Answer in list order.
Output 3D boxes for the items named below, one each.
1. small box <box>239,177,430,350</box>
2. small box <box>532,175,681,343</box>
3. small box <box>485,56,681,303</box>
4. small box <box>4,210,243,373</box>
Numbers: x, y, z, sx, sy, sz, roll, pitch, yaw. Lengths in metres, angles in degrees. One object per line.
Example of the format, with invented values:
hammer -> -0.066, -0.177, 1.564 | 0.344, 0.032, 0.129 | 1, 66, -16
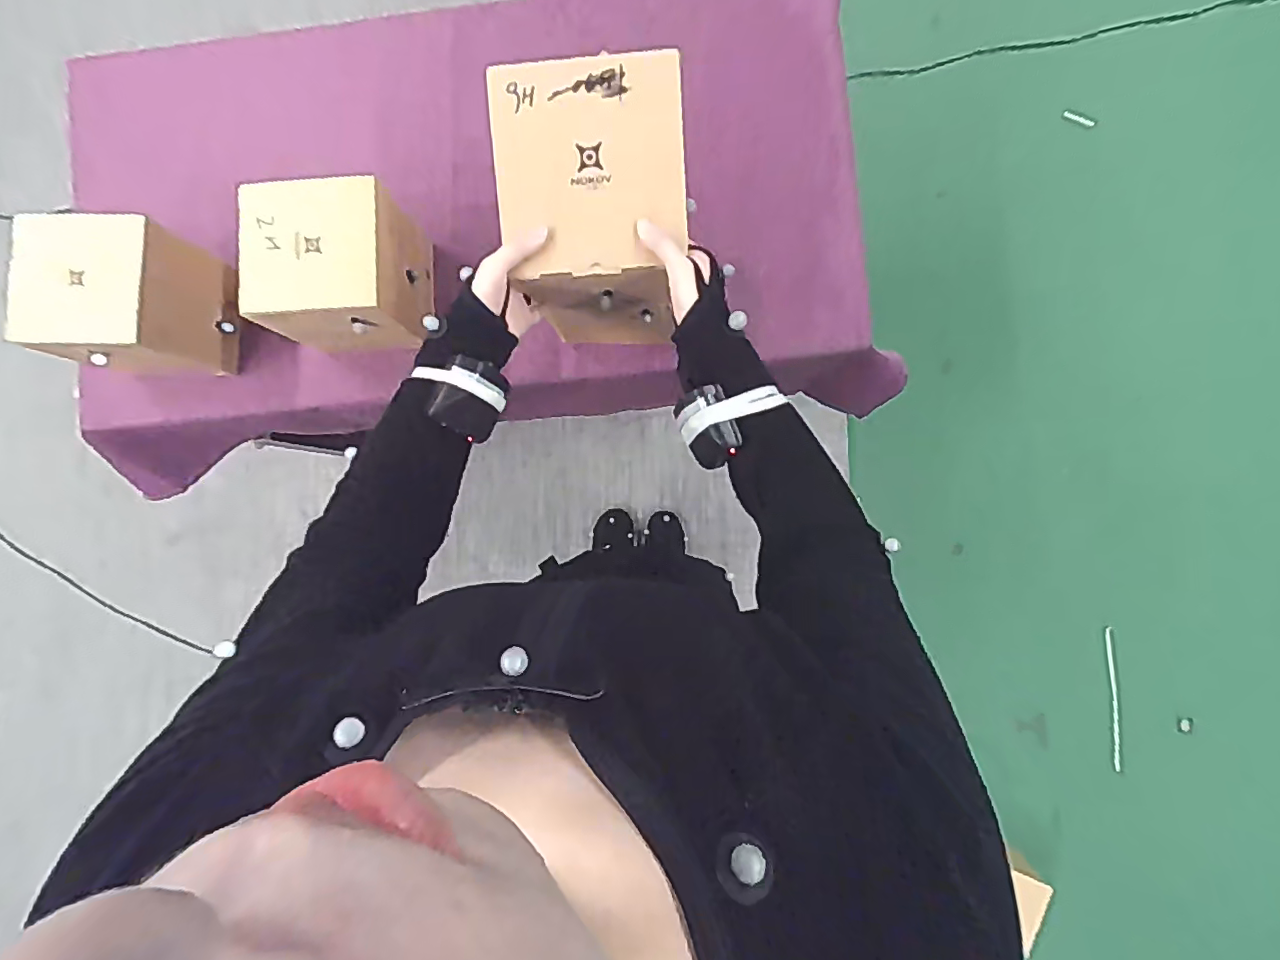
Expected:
small box -> -0.402, -0.284, 0.741 | 0.179, 0.176, 0.168 | -2, 86, 3
small box -> -0.037, -0.289, 0.726 | 0.179, 0.176, 0.168 | 2, 88, 2
small box -> -0.042, -0.278, 0.546 | 0.168, 0.176, 0.179 | -3, 100, 3
small box -> -0.701, -0.251, 0.755 | 0.179, 0.176, 0.168 | 2, 88, 2
